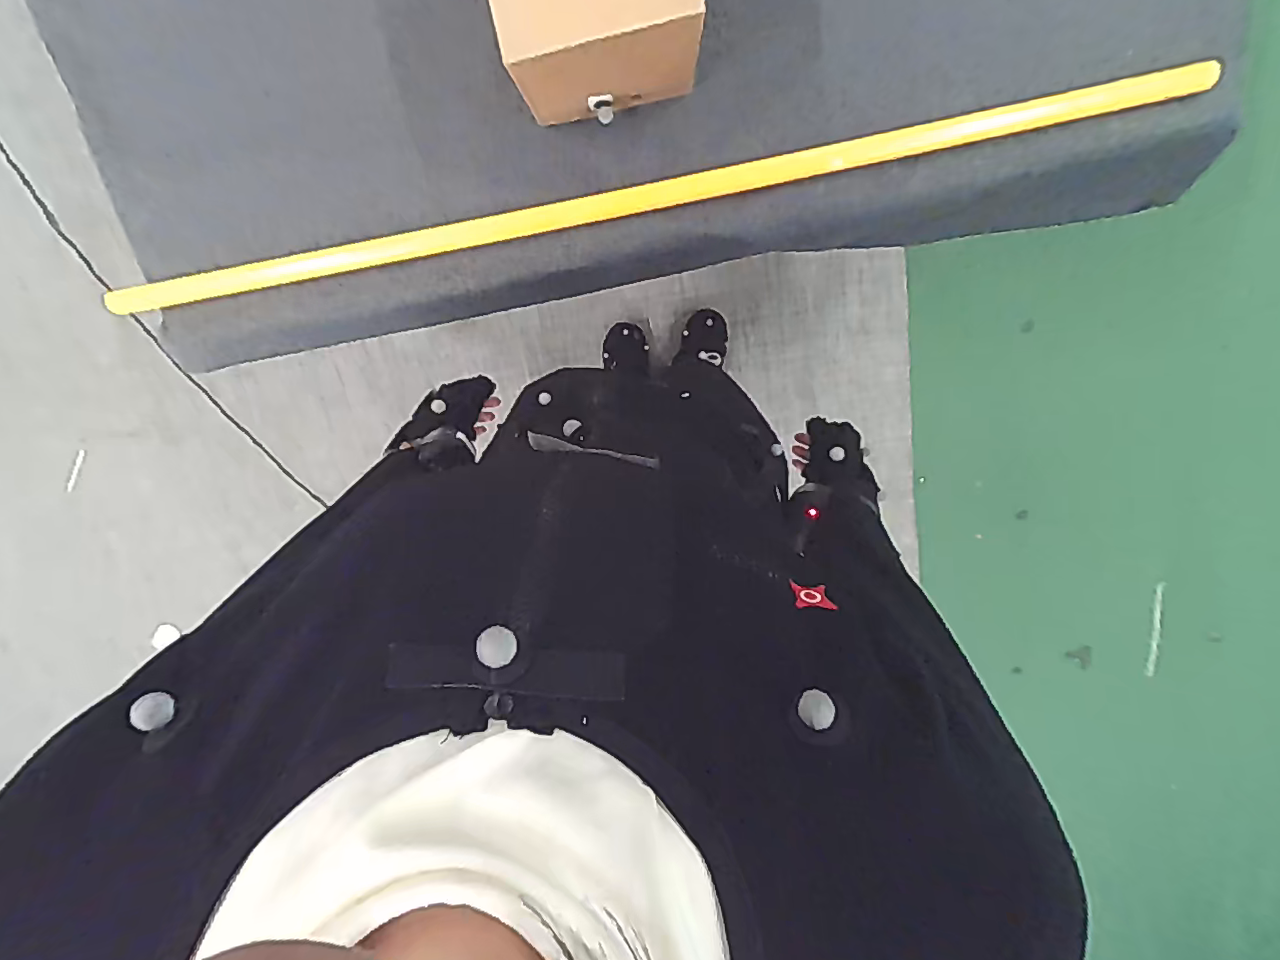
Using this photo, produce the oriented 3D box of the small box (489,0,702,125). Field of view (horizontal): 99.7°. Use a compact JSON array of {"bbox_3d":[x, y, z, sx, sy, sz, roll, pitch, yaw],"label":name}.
[{"bbox_3d":[-0.046,-0.455,0.479,0.168,0.176,0.179,-11,107,5],"label":"small box"}]
